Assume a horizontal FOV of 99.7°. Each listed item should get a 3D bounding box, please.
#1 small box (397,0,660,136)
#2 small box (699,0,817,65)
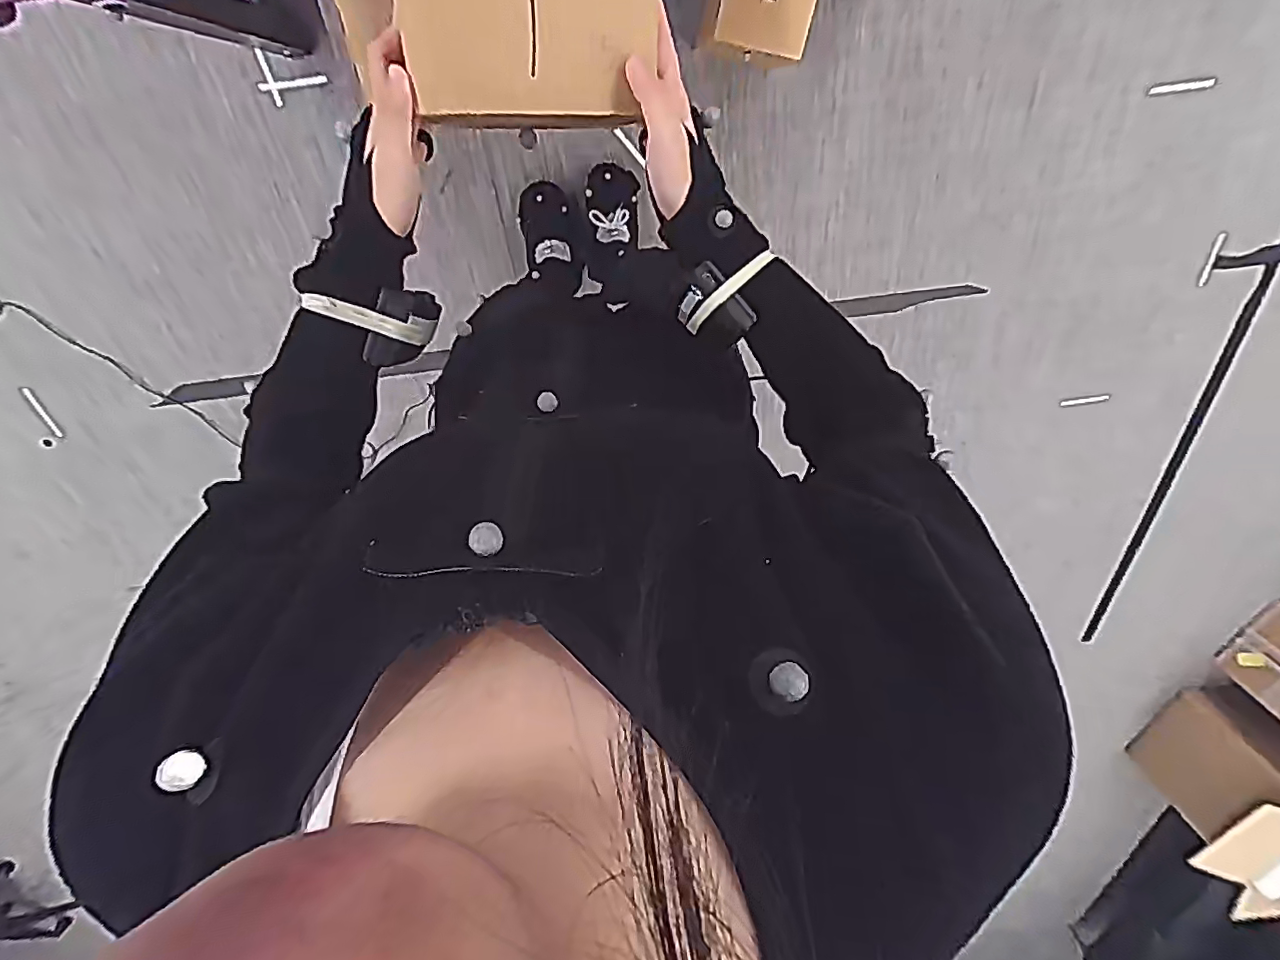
[{"bbox_3d":[-0.083,-0.358,0.392,0.168,0.176,0.179,-6,122,-9],"label":"small box"},{"bbox_3d":[0.225,-0.907,1.024,0.179,0.176,0.168,6,122,-10],"label":"small box"}]
